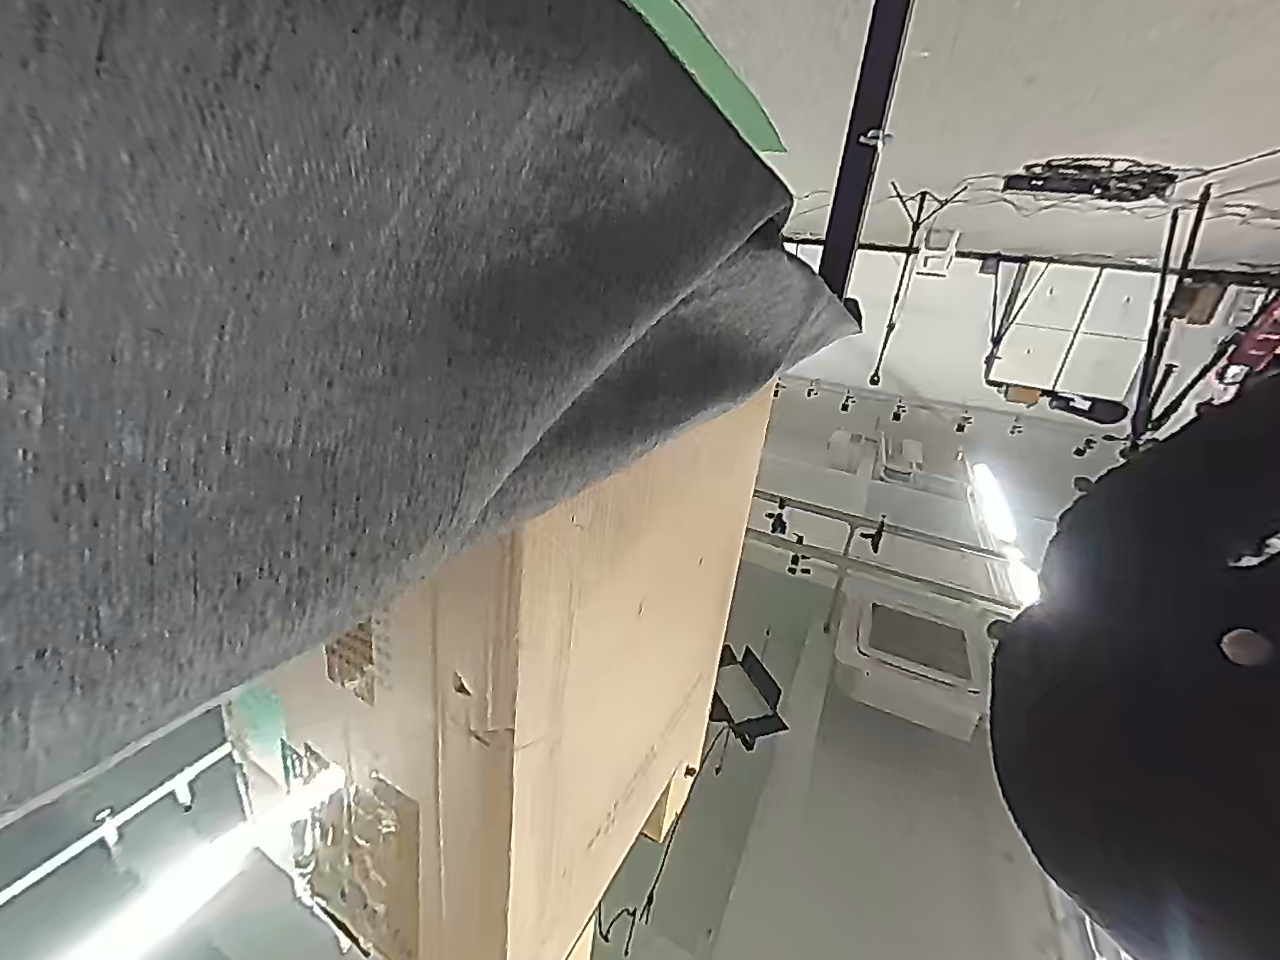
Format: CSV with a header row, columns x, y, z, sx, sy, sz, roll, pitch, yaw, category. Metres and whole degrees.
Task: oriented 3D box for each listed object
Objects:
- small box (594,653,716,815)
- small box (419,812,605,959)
x,y,z,sx,sy,sz,roll,pitch,yaw,category
0.030,0.454,0.992,0.179,0.176,0.168,17,-153,25,small box
-0.159,0.573,0.684,0.179,0.176,0.168,17,-155,26,small box
